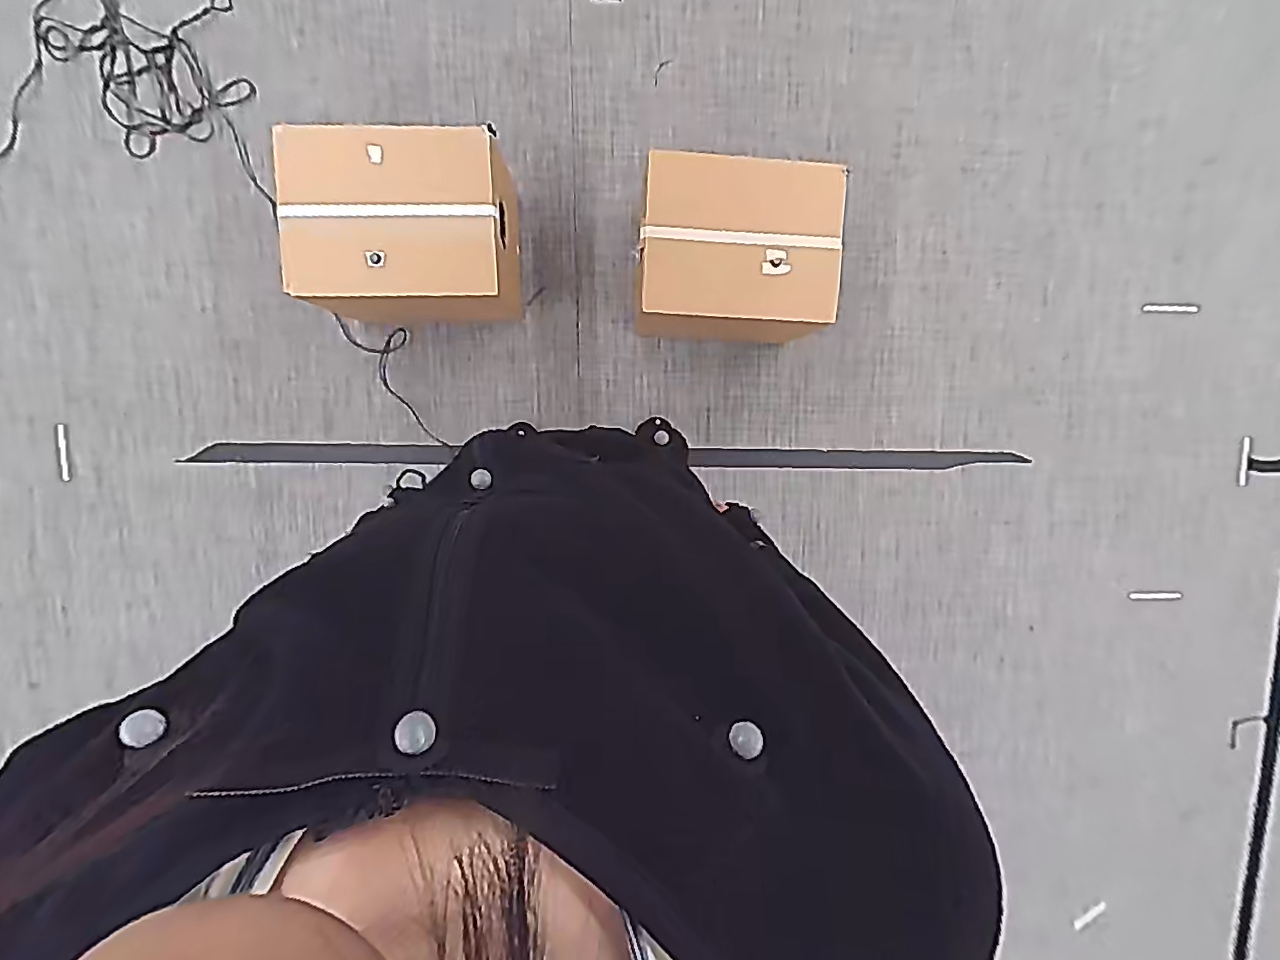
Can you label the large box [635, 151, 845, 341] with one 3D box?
[{"bbox_3d":[0.200,-0.506,1.241,0.408,0.320,0.320,2,96,-5],"label":"large box"}]
